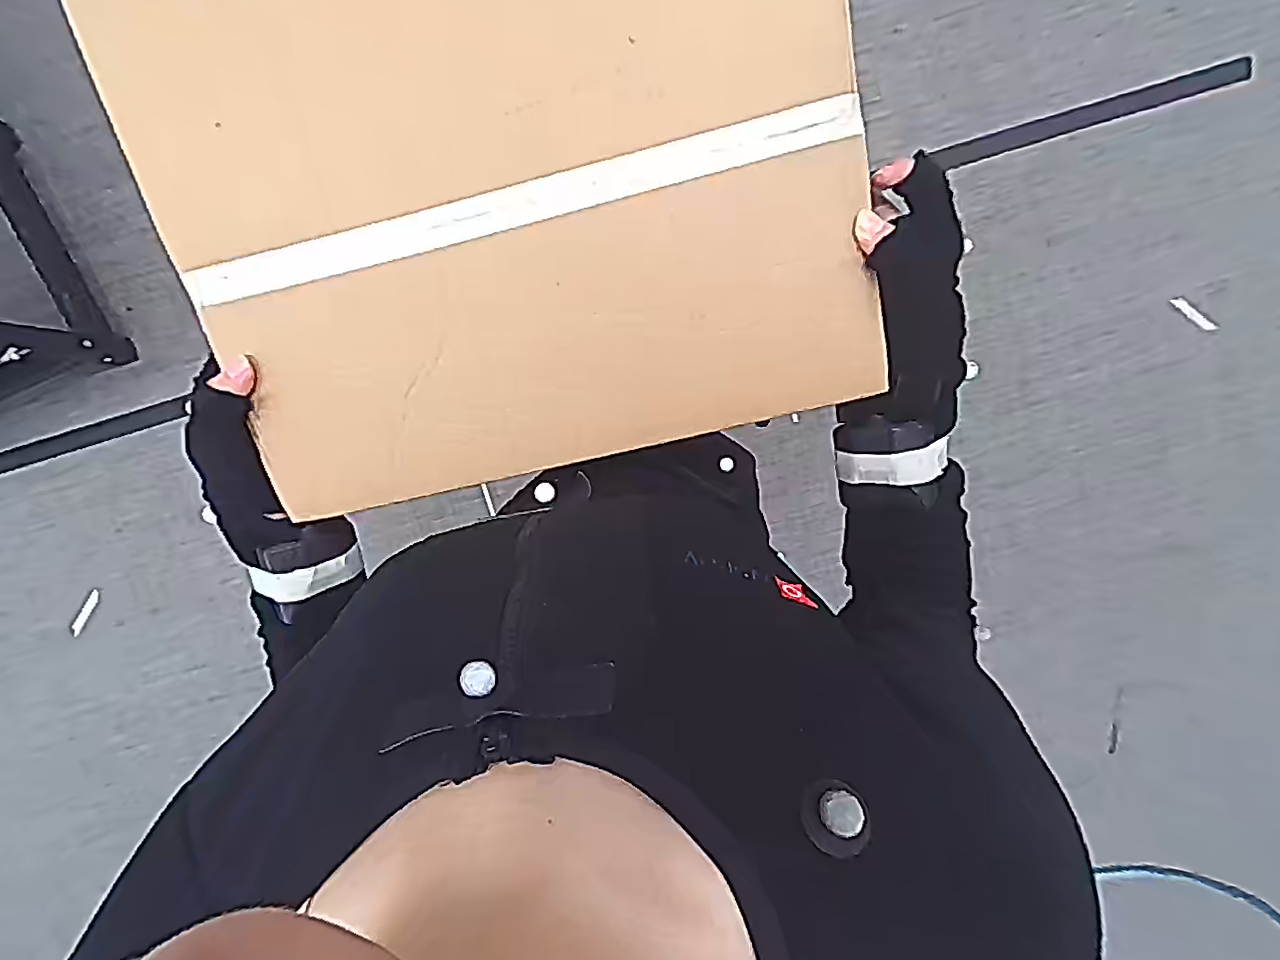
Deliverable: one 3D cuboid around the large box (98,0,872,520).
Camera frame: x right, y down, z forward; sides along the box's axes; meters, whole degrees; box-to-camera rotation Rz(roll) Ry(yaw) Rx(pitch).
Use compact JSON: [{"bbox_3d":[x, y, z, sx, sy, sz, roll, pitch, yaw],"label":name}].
[{"bbox_3d":[-0.072,-0.201,0.467,0.408,0.320,0.320,-12,106,4],"label":"large box"}]
